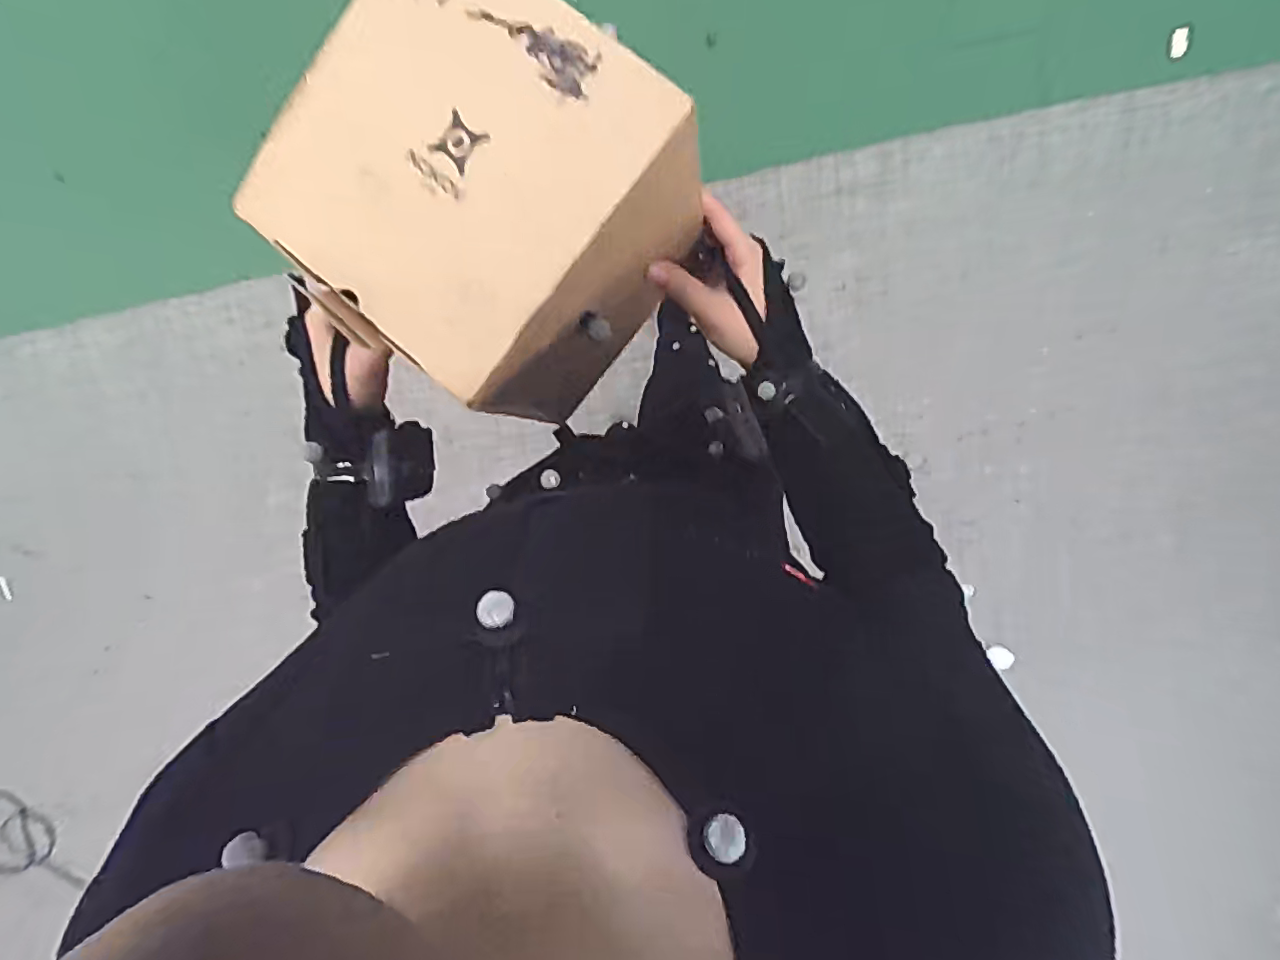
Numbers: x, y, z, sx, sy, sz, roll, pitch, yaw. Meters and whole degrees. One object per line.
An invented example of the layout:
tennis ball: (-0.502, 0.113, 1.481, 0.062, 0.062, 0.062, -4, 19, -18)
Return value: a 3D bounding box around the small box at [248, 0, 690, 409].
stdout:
small box: (-0.080, -0.161, 0.343, 0.168, 0.176, 0.179, 40, 98, 4)
